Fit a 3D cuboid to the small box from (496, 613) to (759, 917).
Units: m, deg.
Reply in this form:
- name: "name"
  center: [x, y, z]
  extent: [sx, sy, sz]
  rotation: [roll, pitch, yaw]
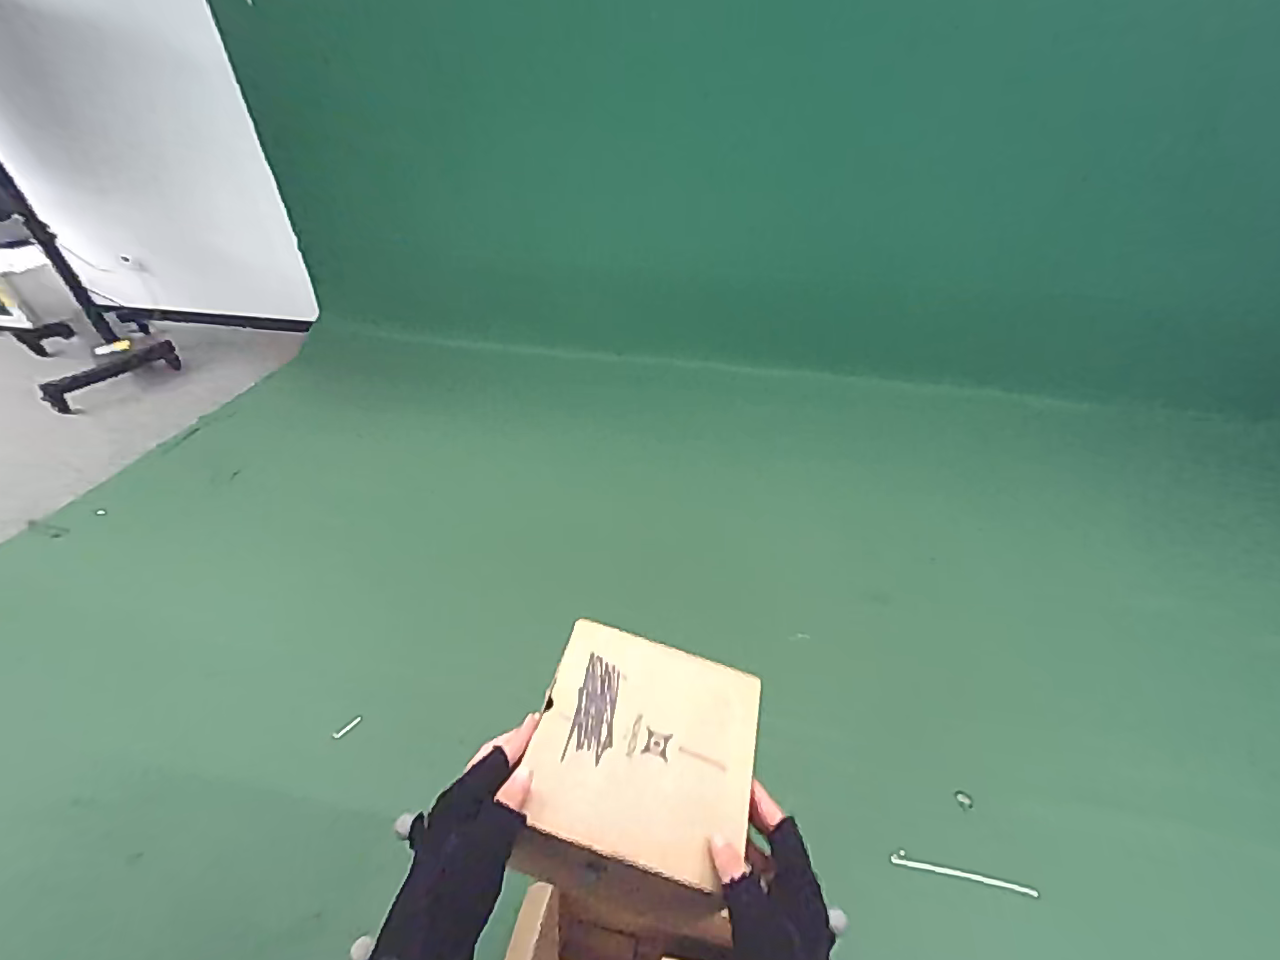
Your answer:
- name: "small box"
  center: [-0.012, 0.252, 0.477]
  extent: [0.179, 0.176, 0.168]
  rotation: [18, 44, 4]
